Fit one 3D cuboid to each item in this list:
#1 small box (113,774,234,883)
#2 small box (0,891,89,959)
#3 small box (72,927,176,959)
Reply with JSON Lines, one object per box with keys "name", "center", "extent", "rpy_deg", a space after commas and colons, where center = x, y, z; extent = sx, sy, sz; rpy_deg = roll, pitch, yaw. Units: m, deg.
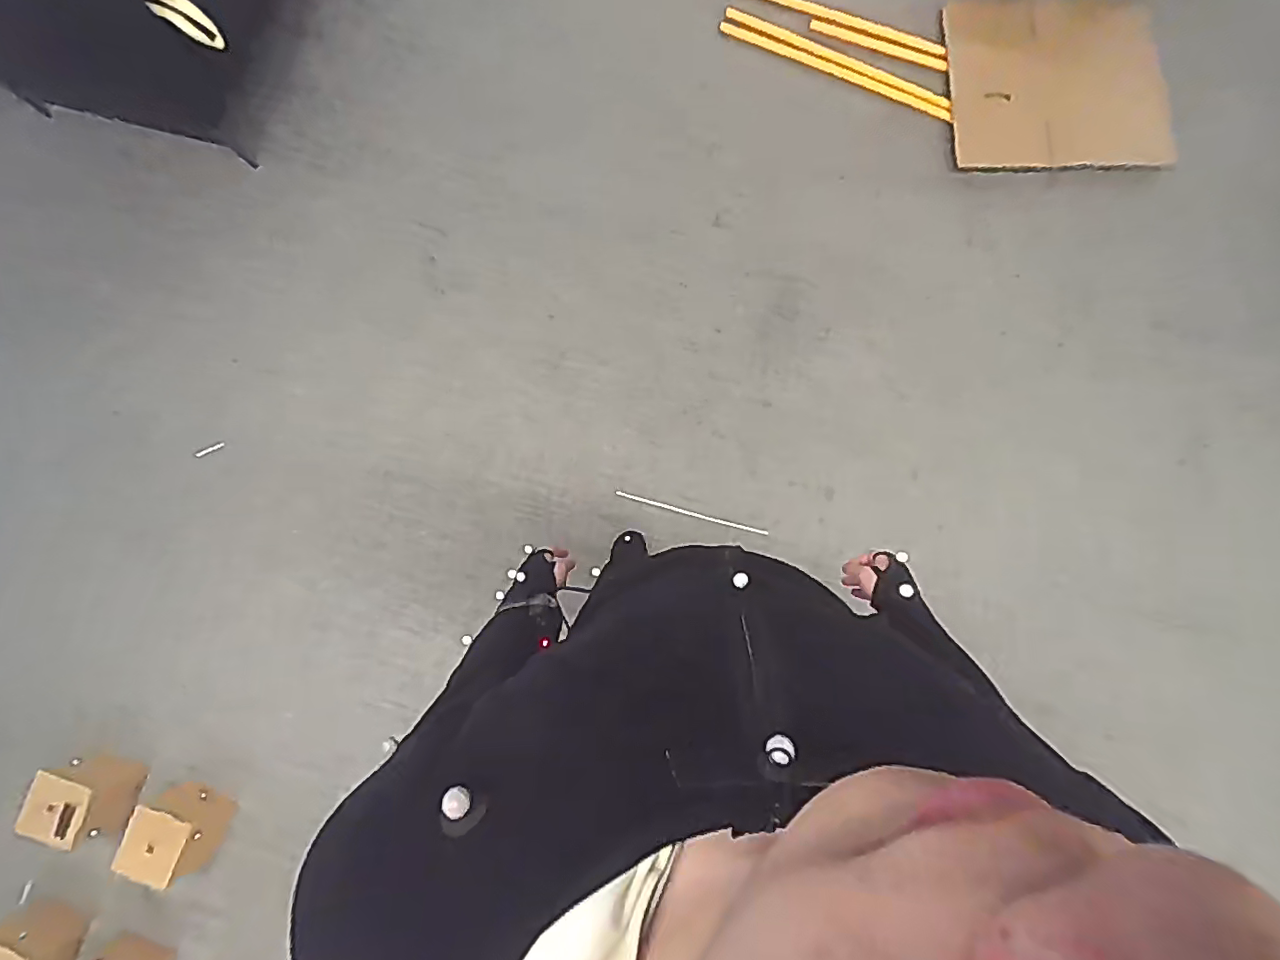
{"name": "small box", "center": [-1.301, 0.972, 1.523], "extent": [0.168, 0.176, 0.179], "rpy_deg": [18, 83, 4]}
{"name": "small box", "center": [-1.708, 1.296, 1.499], "extent": [0.179, 0.176, 0.168], "rpy_deg": [18, 84, 5]}
{"name": "small box", "center": [-1.444, 1.380, 1.477], "extent": [0.179, 0.176, 0.168], "rpy_deg": [18, 84, 5]}
